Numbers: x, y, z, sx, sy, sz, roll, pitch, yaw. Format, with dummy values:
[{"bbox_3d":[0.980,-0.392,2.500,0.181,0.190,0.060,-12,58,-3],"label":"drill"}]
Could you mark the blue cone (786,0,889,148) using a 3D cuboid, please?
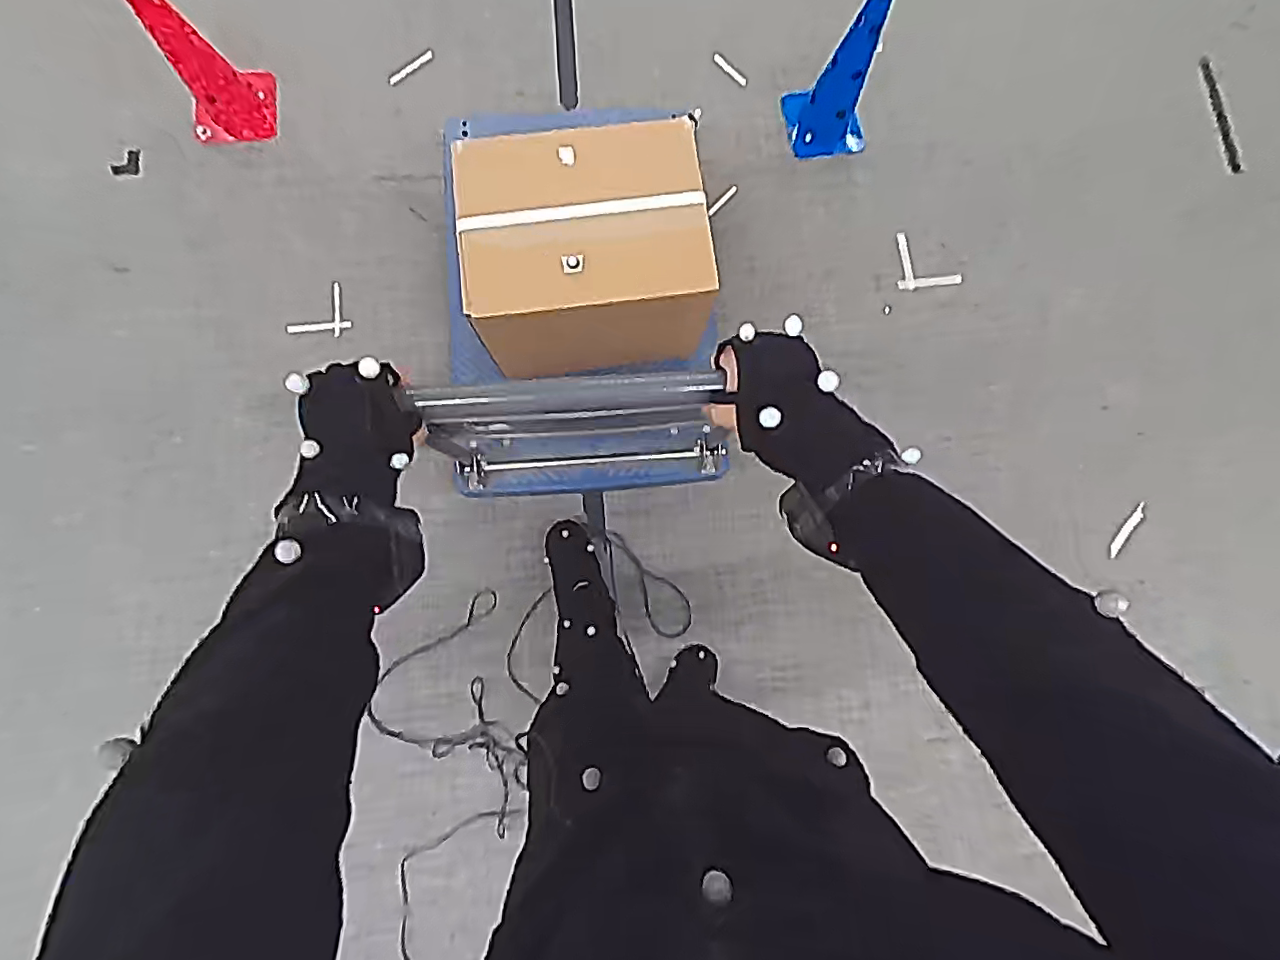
[{"bbox_3d":[0.507,-1.008,1.295,0.193,0.380,0.192,-8,81,-4],"label":"blue cone"}]
